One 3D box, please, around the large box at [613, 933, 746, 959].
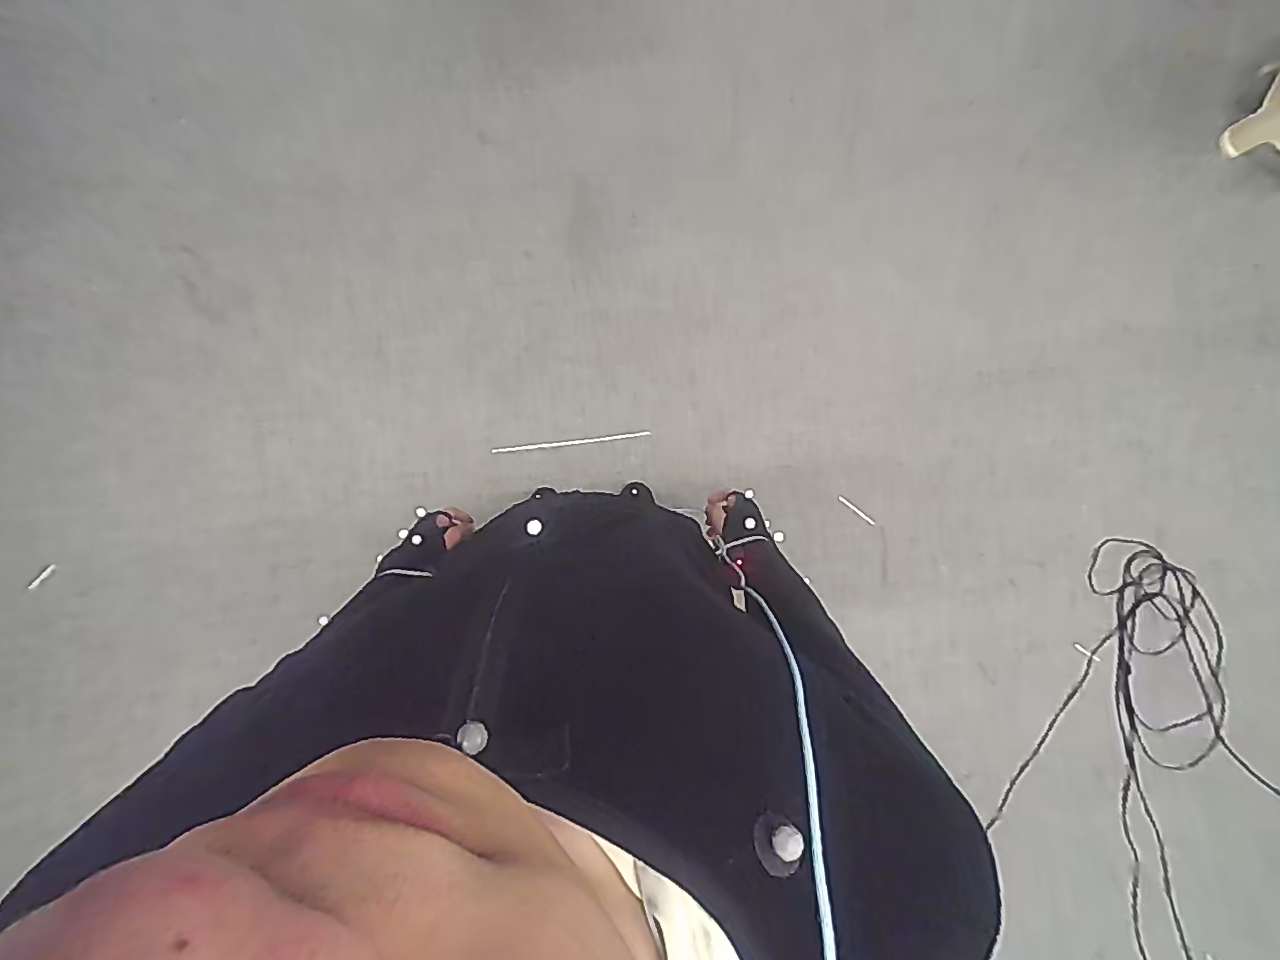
[{"bbox_3d":[0.139,1.560,1.497,0.408,0.320,0.320,-8,89,-2],"label":"large box"}]
